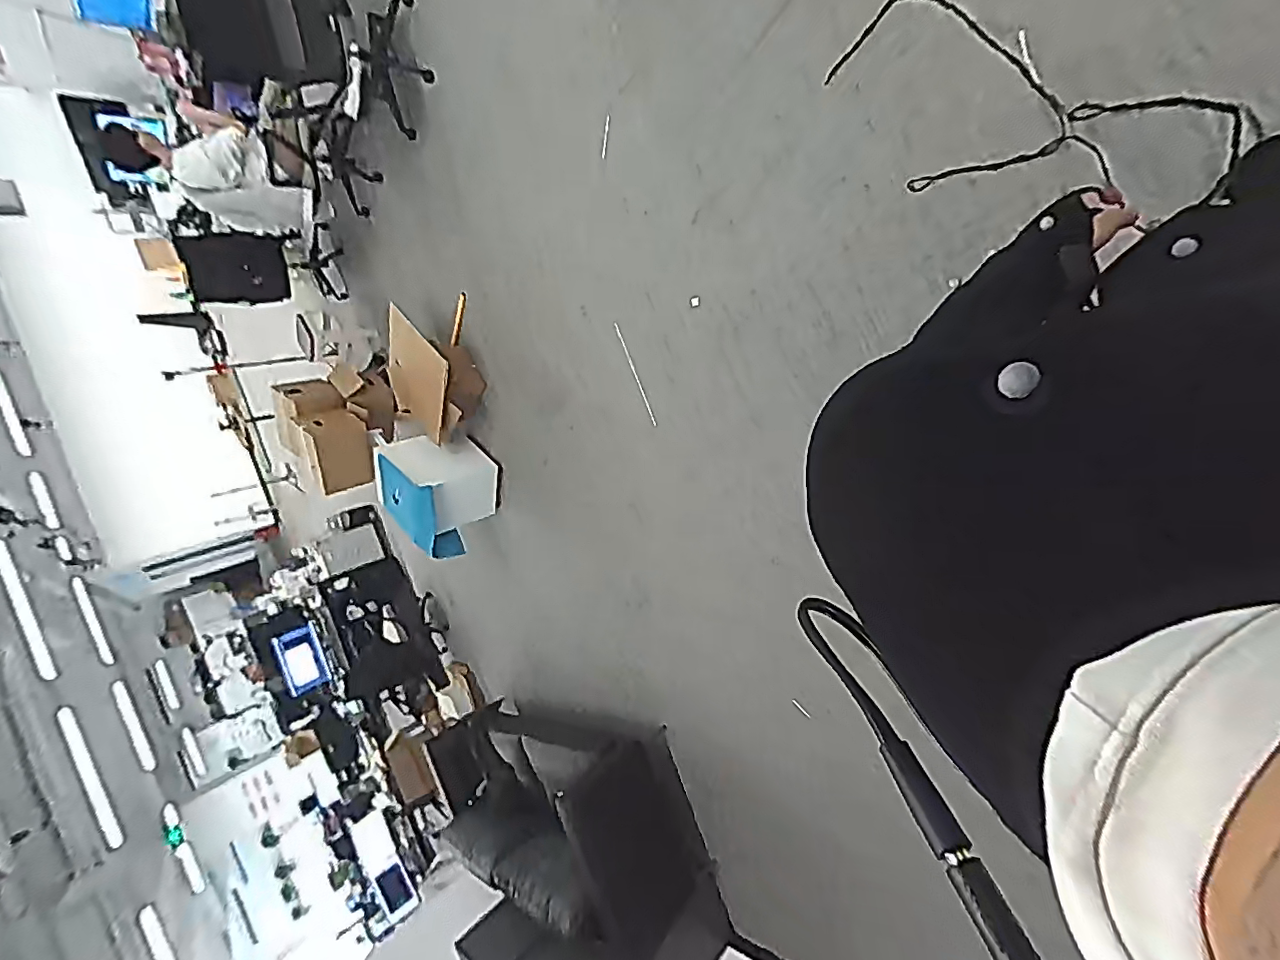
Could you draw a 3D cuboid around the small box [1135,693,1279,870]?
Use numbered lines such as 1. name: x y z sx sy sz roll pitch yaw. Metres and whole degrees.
1. small box: 0.966 0.493 0.908 0.168 0.176 0.179 -10 97 49
